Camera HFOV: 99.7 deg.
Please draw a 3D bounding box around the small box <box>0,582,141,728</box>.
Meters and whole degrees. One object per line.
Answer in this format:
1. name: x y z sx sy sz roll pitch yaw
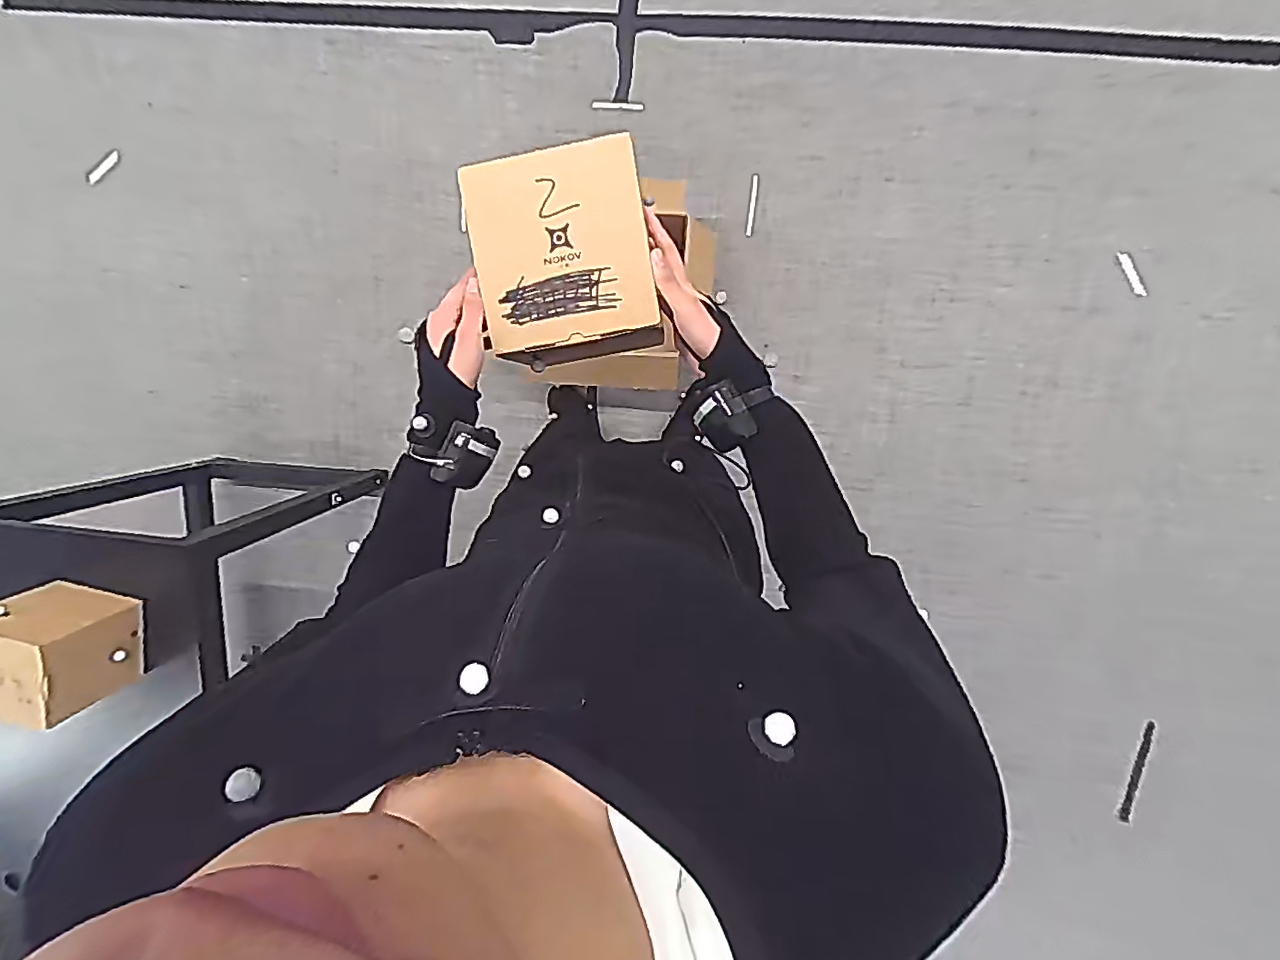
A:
1. small box: -1.048 0.299 0.959 0.179 0.176 0.168 13 104 2
